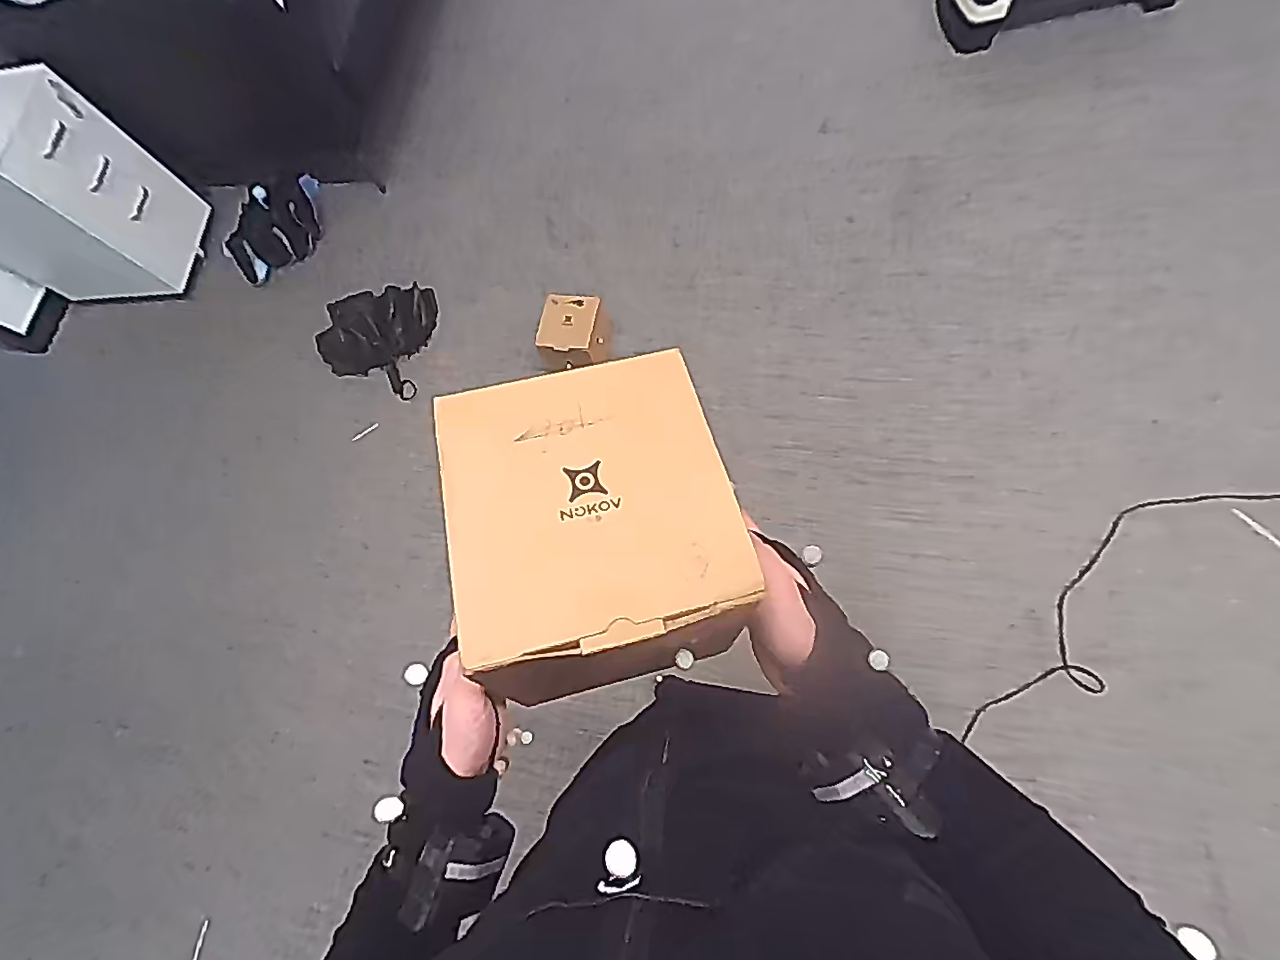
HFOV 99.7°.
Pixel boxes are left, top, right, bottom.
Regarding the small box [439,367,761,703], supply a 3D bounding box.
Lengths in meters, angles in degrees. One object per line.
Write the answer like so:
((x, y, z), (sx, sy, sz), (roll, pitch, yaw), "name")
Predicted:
((-0.031, 0.051, 0.391), (0.168, 0.176, 0.179), (-13, 62, -7), "small box")
